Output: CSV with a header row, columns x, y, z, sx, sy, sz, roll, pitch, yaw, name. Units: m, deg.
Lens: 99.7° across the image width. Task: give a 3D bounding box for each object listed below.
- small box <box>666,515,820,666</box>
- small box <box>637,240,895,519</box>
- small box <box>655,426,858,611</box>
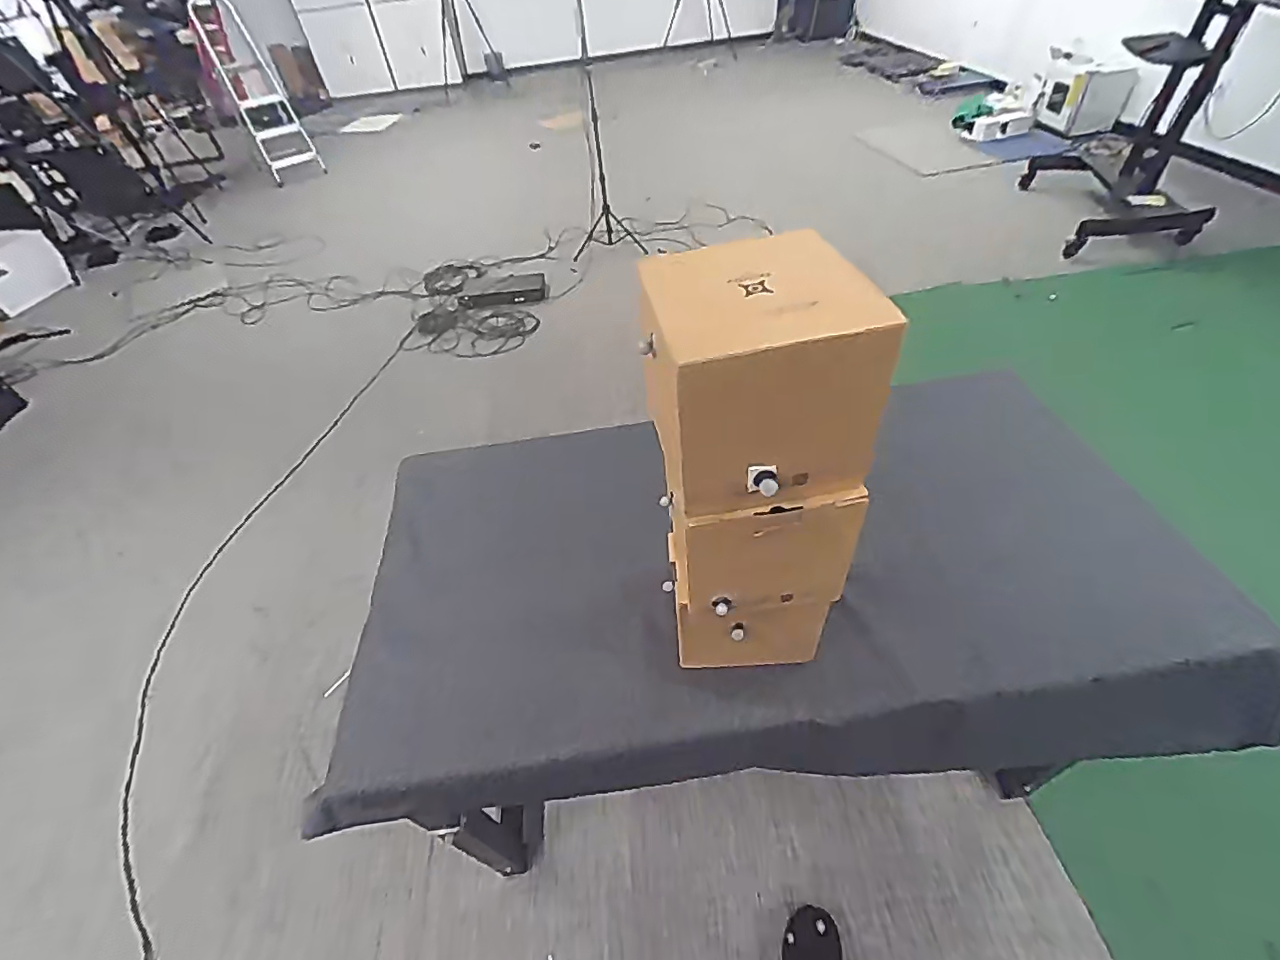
x,y,z,sx,sy,sz,roll,pitch,yaw,name
0.133,0.135,0.729,0.179,0.176,0.168,-6,44,1,small box
0.096,-0.092,0.494,0.168,0.176,0.179,-12,46,-2,small box
0.117,0.029,0.601,0.168,0.176,0.179,-10,46,-2,small box
